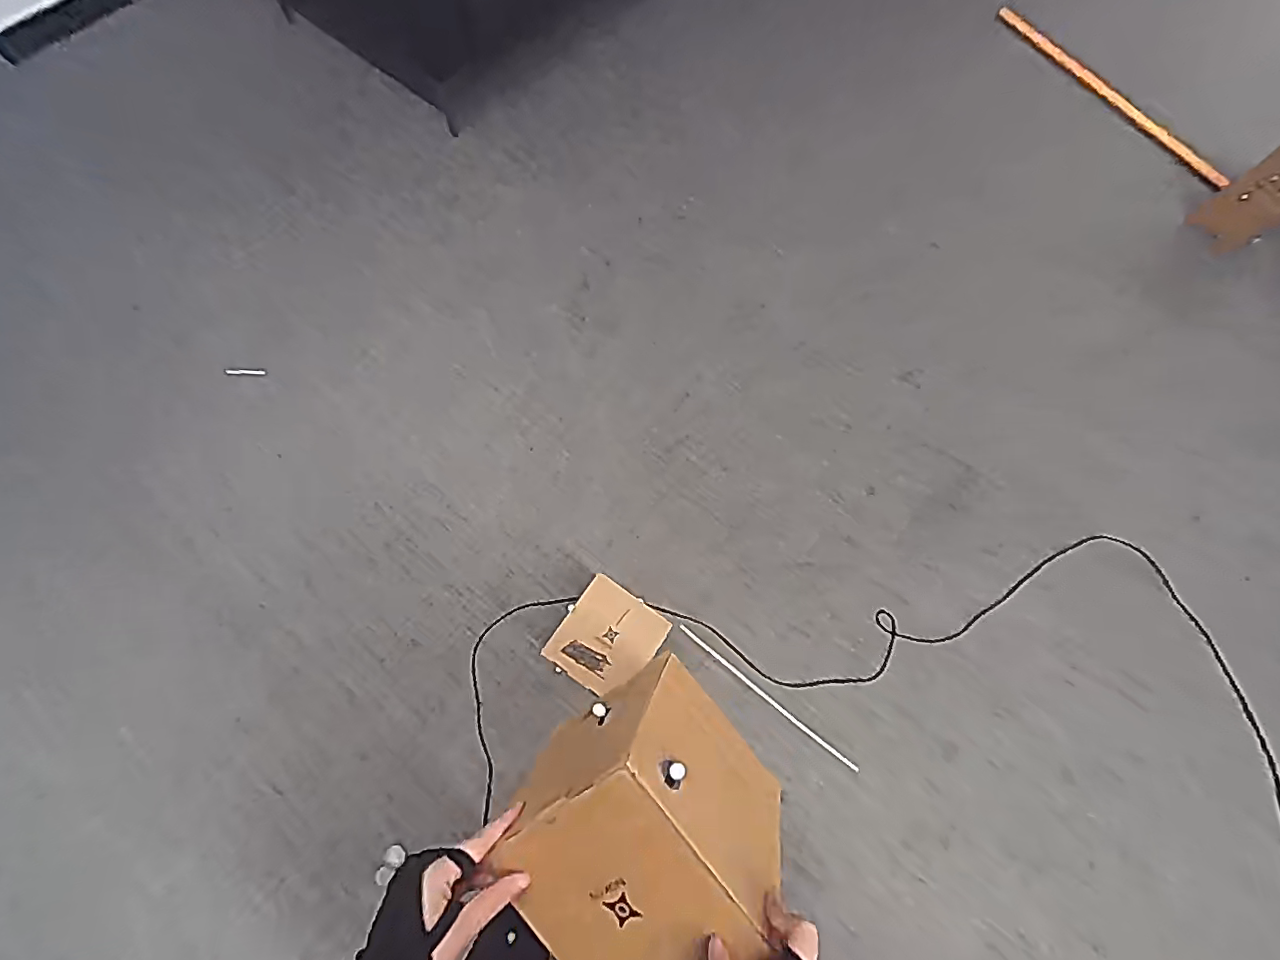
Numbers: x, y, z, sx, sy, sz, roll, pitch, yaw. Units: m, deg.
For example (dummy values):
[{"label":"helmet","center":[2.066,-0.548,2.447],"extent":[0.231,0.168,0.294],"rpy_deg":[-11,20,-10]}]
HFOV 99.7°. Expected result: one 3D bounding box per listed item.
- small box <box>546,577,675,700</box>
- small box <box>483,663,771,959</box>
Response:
[{"label":"small box","center":[-0.051,0.313,1.024],"extent":[0.168,0.176,0.179],"rpy_deg":[33,72,10]},{"label":"small box","center":[0.003,0.306,0.491],"extent":[0.168,0.176,0.179],"rpy_deg":[-41,86,18]}]
